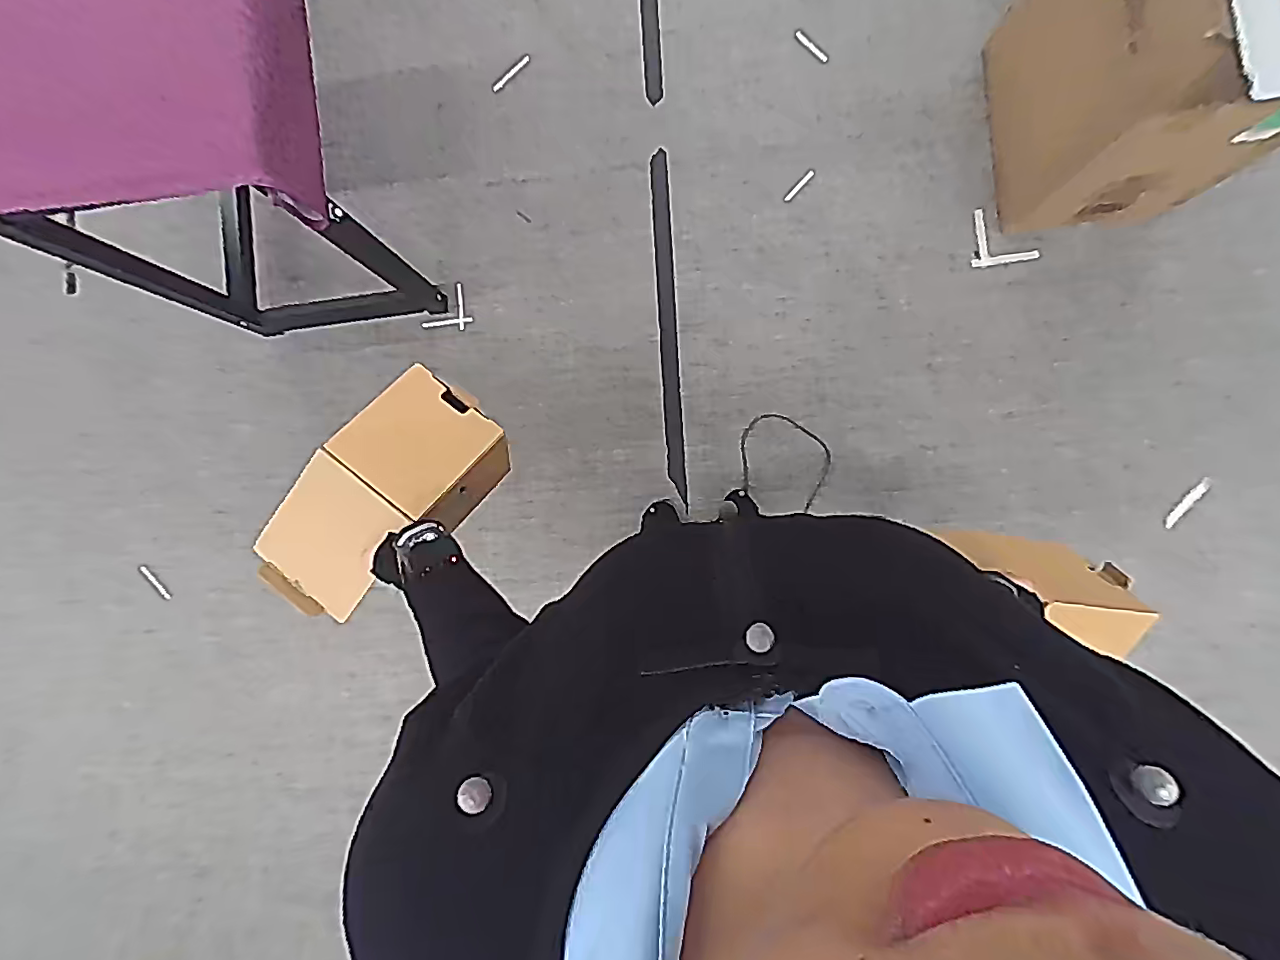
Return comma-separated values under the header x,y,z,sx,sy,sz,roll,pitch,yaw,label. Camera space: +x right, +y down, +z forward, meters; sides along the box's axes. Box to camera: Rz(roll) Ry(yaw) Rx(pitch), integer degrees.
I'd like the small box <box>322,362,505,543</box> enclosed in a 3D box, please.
x,y,z,sx,sy,sz,roll,pitch,yaw,label
-0.315,-0.030,0.799,0.168,0.176,0.179,38,69,3,small box
